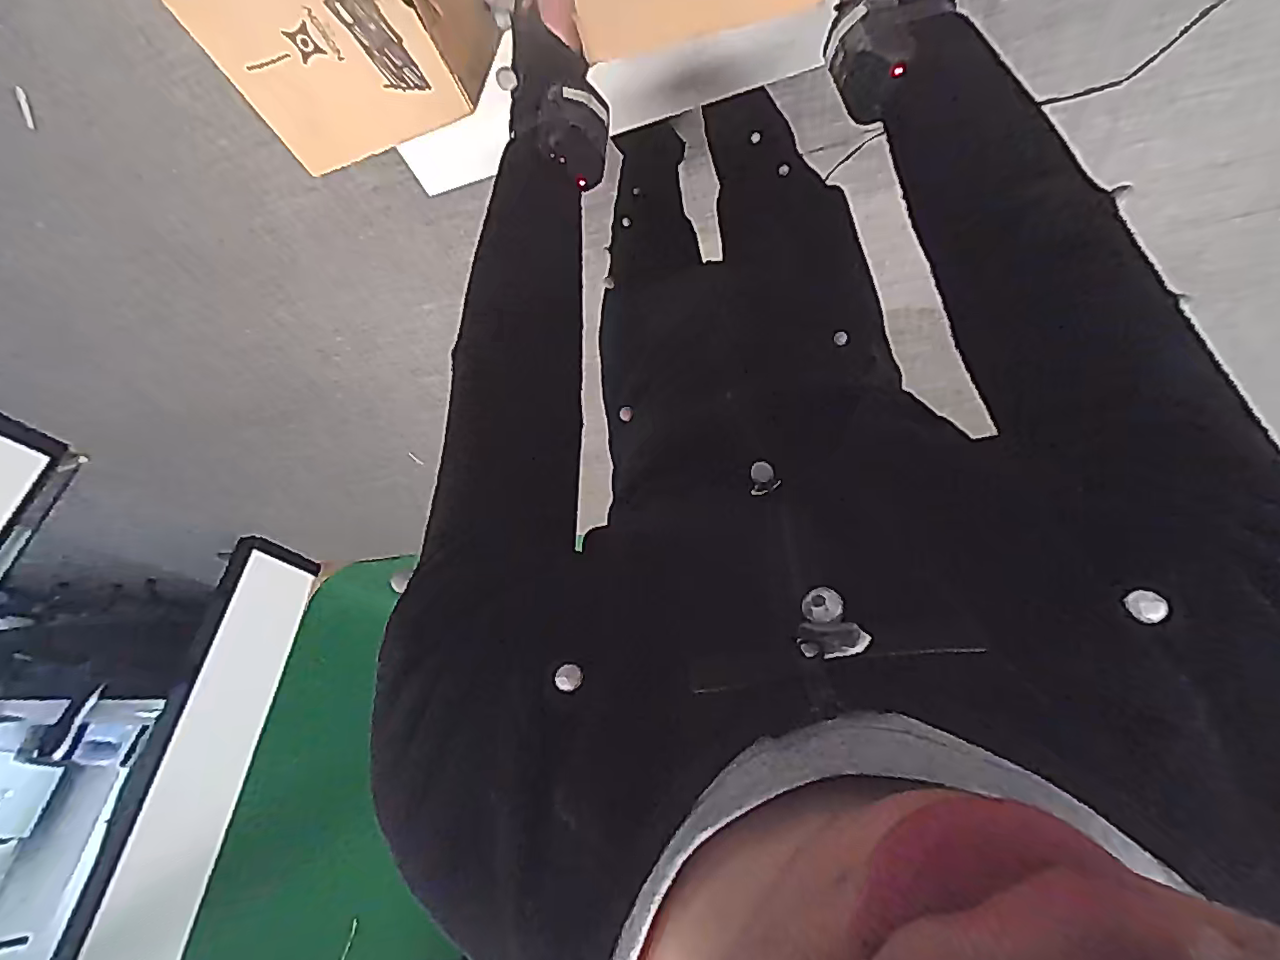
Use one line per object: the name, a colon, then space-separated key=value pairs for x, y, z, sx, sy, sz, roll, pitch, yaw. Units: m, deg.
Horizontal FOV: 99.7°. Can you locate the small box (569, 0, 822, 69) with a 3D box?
small box: x=0.031 y=-0.430 z=0.370 sx=0.179 sy=0.176 sz=0.168 roll=-4 pitch=150 yaw=13
